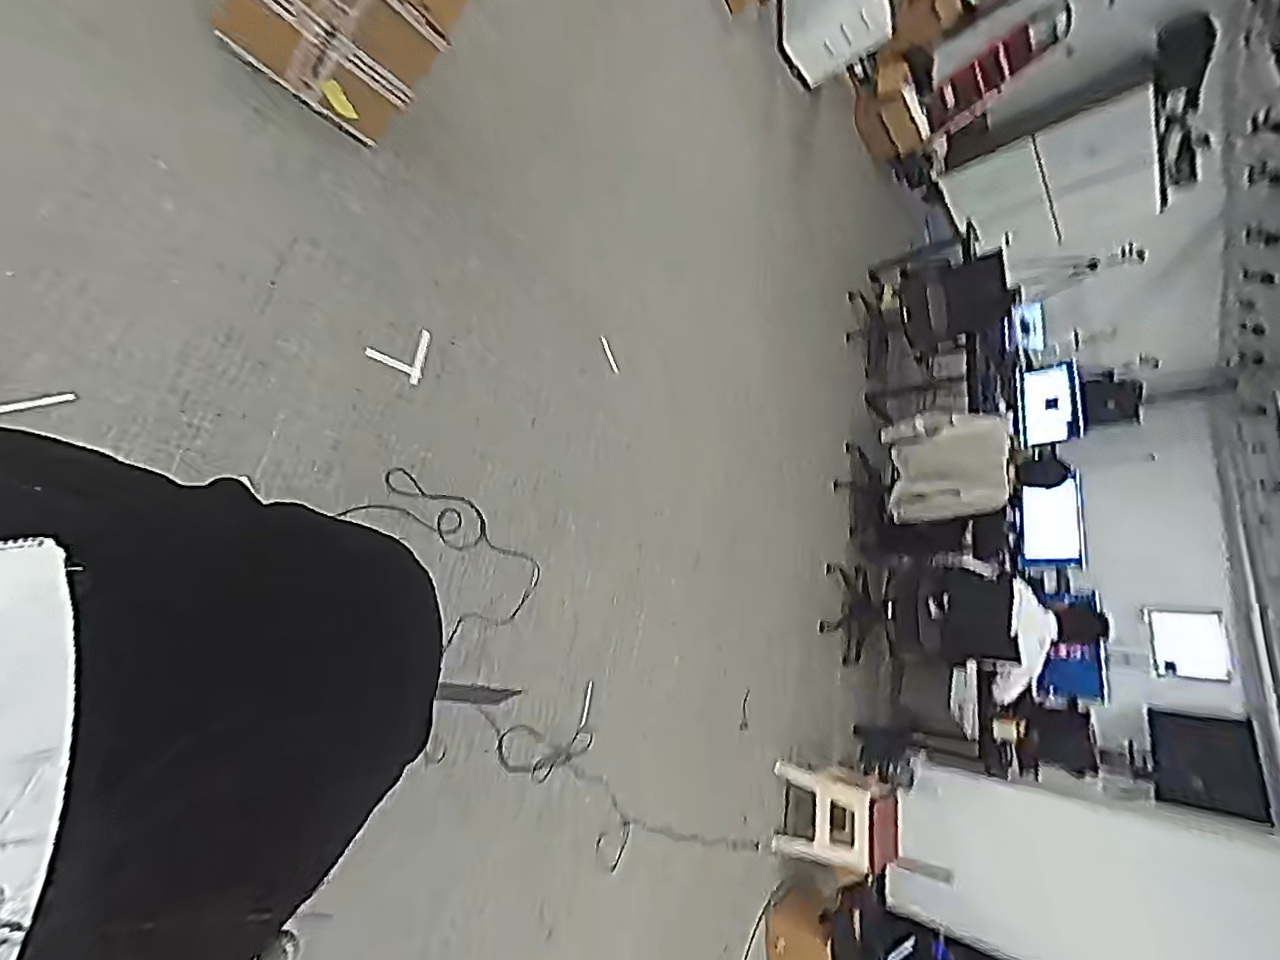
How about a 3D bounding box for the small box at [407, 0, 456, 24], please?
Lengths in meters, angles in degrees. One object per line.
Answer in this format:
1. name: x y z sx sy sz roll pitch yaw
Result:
1. small box: -0.441 -1.132 1.134 0.168 0.176 0.179 26 68 -42
